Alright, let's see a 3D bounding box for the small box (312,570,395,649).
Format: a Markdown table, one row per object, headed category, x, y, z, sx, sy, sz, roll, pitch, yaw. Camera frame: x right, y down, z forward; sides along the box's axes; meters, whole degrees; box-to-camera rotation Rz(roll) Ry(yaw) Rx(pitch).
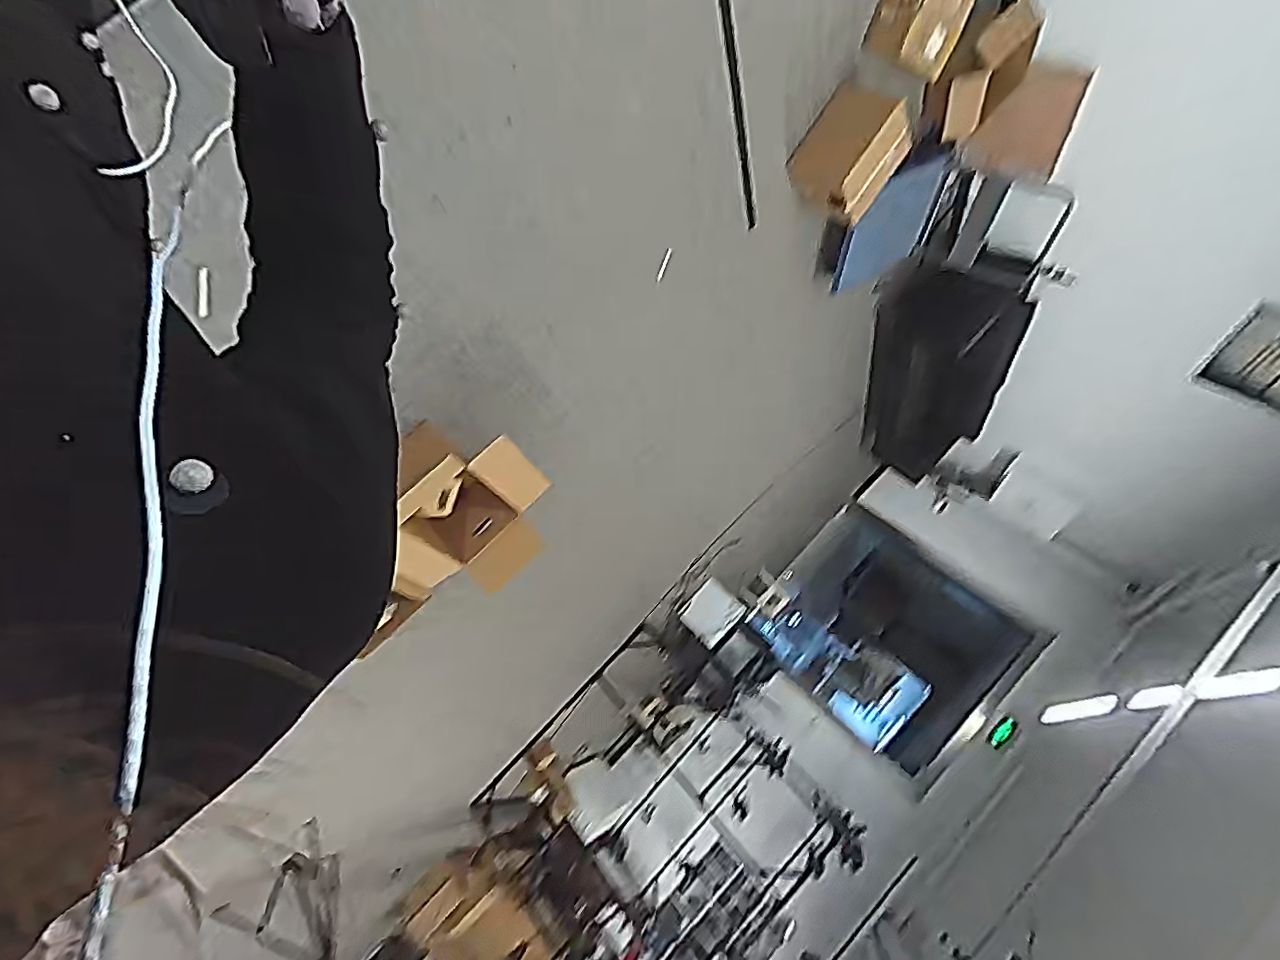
| category | x | y | z | sx | sy | sz | roll | pitch | yaw |
| --- | --- | --- | --- | --- | --- | --- | --- | --- | --- |
| small box | -0.993 | 0.444 | 1.861 | 0.179 | 0.176 | 0.168 | -43 | 147 | -8 |
